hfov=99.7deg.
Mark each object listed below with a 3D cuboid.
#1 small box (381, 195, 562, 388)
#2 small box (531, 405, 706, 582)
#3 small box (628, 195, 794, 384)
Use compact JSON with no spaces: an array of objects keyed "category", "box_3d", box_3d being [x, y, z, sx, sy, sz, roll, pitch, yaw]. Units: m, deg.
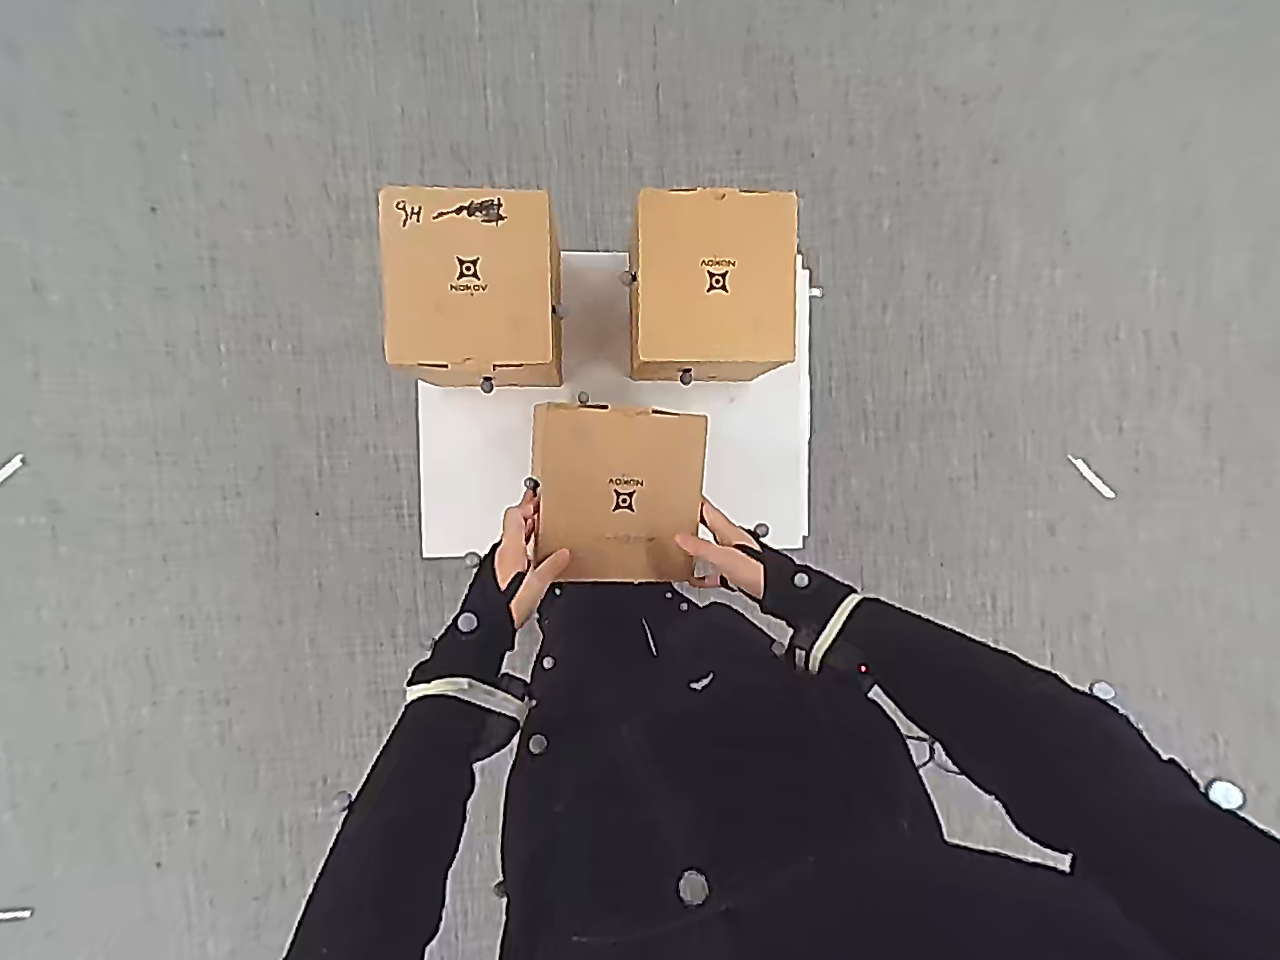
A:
[{"category":"small box","box_3d":[-0.177,-0.199,0.619,0.168,0.176,0.179,-1,94,-5]},{"category":"small box","box_3d":[-0.035,0.009,0.620,0.168,0.176,0.179,2,97,-13]},{"category":"small box","box_3d":[0.073,-0.208,0.638,0.168,0.176,0.179,-1,93,-4]}]
